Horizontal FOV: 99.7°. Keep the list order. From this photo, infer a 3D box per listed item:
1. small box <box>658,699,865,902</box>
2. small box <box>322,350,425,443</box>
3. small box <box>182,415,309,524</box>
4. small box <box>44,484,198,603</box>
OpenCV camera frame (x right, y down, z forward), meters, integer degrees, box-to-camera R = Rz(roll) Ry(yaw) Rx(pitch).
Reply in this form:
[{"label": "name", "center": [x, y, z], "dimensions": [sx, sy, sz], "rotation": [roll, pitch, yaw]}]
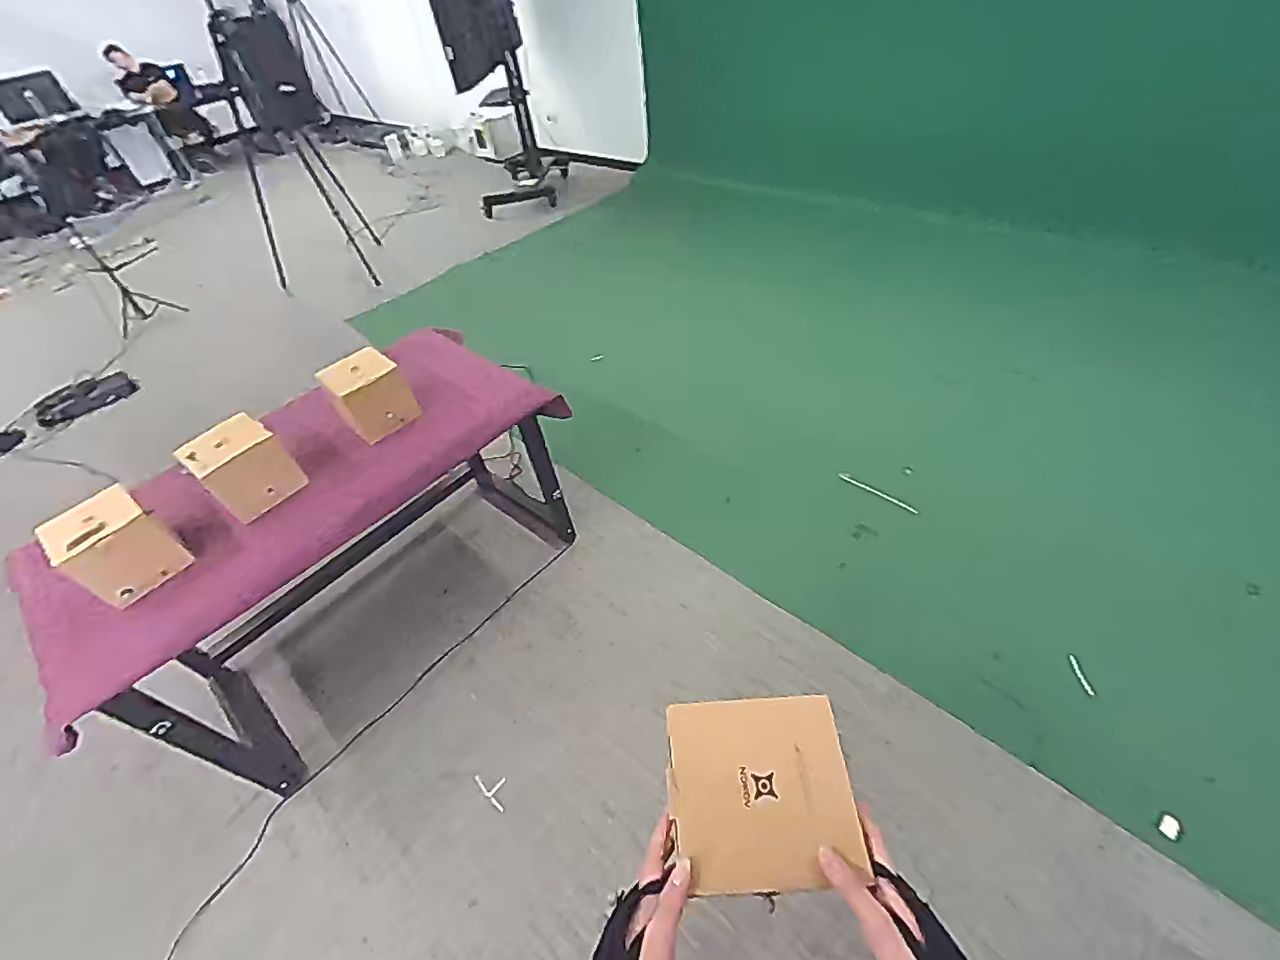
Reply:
[{"label": "small box", "center": [0.115, 0.350, 0.586], "dimensions": [0.179, 0.176, 0.168], "rotation": [-4, 52, 1]}, {"label": "small box", "center": [-0.733, -0.229, 1.500], "dimensions": [0.179, 0.176, 0.168], "rotation": [32, 59, 33]}, {"label": "small box", "center": [-0.962, -0.026, 1.339], "dimensions": [0.168, 0.176, 0.179], "rotation": [26, 55, 30]}, {"label": "small box", "center": [-1.137, 0.145, 1.198], "dimensions": [0.179, 0.176, 0.168], "rotation": [26, 55, 31]}]
